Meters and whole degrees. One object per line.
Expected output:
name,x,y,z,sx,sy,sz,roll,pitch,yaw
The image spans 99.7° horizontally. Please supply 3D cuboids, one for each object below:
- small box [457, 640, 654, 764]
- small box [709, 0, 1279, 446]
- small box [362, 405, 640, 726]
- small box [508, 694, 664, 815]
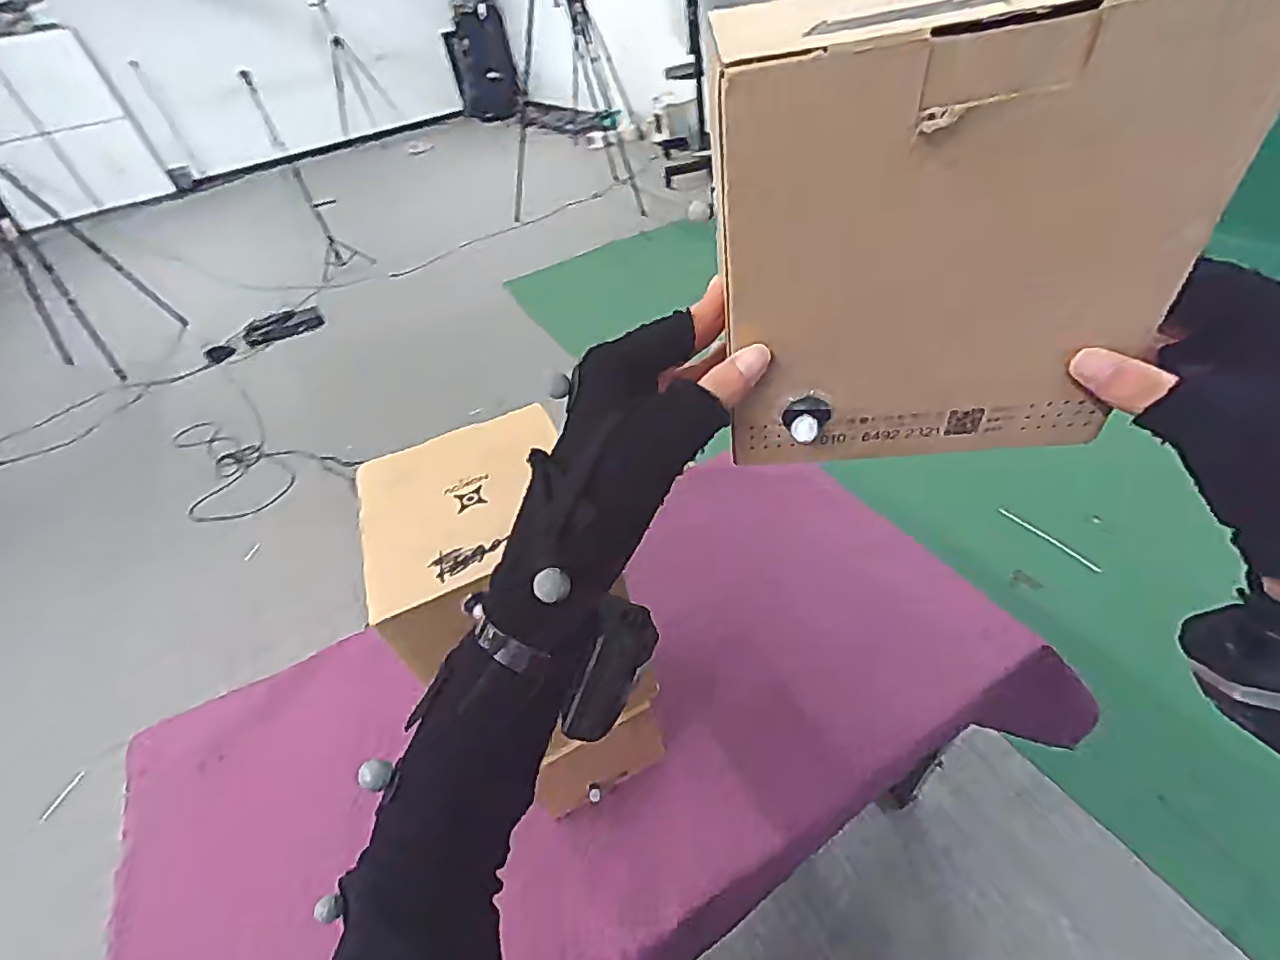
small box,-0.102,0.173,0.592,0.179,0.176,0.168,-25,45,-14
small box,0.122,-0.128,0.262,0.168,0.176,0.179,-3,44,9
small box,-0.115,0.069,0.464,0.168,0.176,0.179,-24,44,-12
small box,-0.084,0.291,0.701,0.168,0.176,0.179,-24,46,-12
